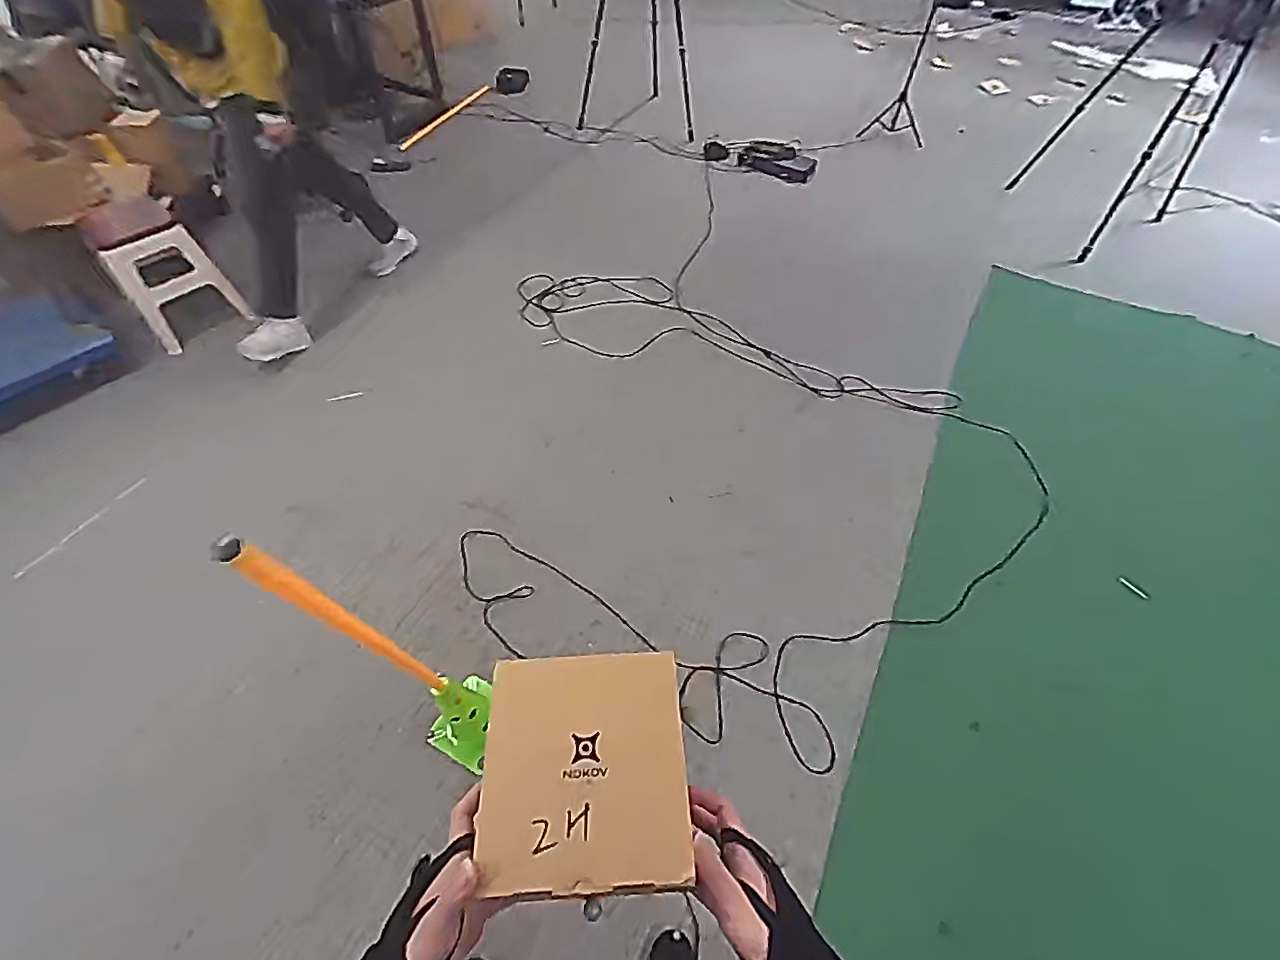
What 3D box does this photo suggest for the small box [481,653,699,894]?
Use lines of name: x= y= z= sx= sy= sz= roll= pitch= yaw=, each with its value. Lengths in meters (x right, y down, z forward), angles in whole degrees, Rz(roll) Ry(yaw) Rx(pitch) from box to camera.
small box: x=-0.039 y=0.280 z=0.513 sx=0.168 sy=0.176 sz=0.179 roll=-1 pitch=53 yaw=-1

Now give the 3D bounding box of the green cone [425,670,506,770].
green cone: x=-0.451 y=0.557 z=1.351 sx=0.200 sy=0.368 sz=0.202 roll=24 pitch=56 yaw=15
